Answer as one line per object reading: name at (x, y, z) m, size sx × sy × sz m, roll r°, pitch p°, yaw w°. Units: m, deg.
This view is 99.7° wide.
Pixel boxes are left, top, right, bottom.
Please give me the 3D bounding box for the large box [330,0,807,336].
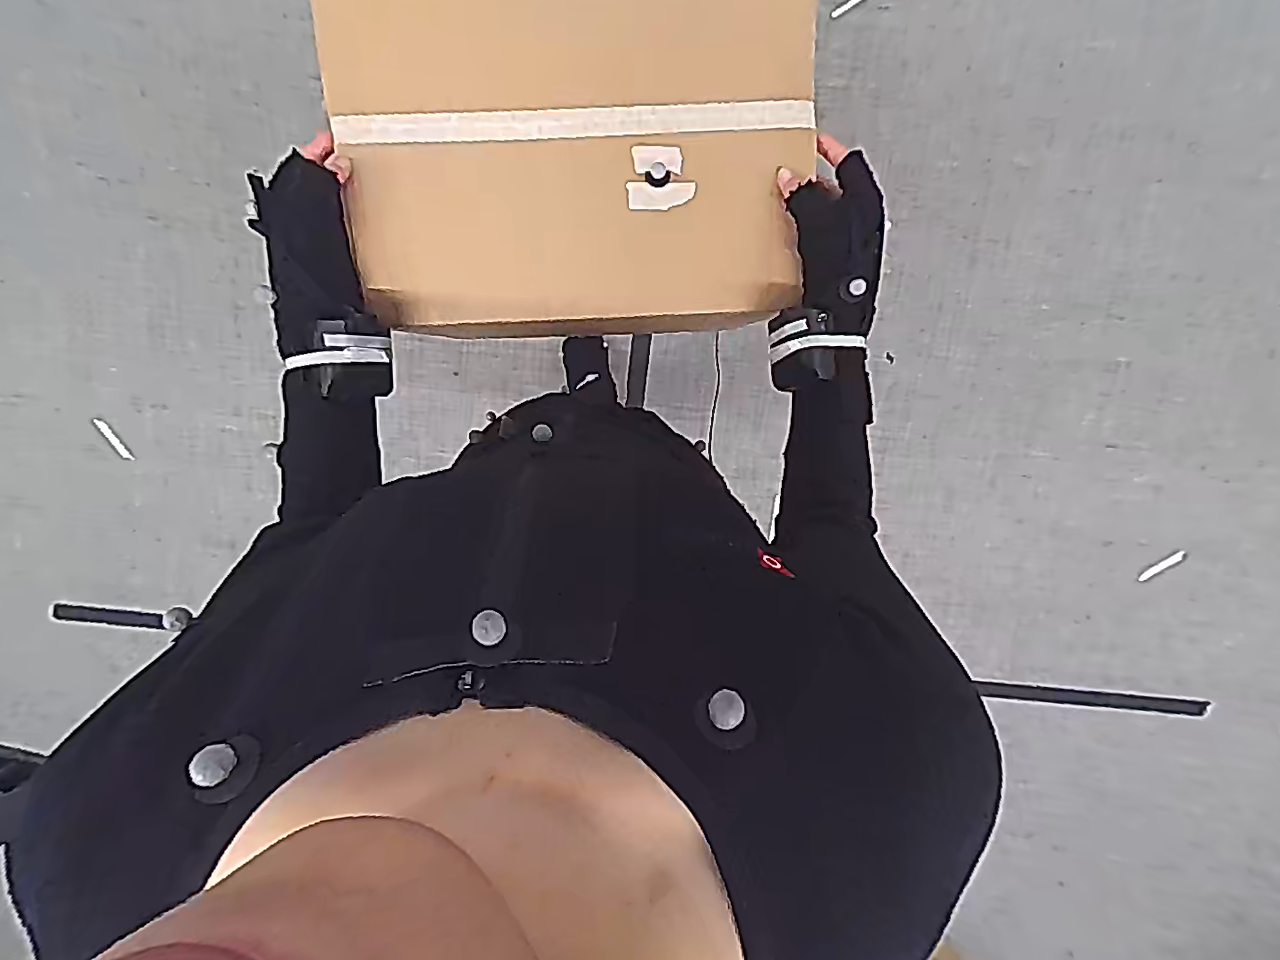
large box at (-0.061, -0.341, 0.614) m, size 0.408 × 0.320 × 0.320 m, roll -3°, pitch 102°, yaw -2°
